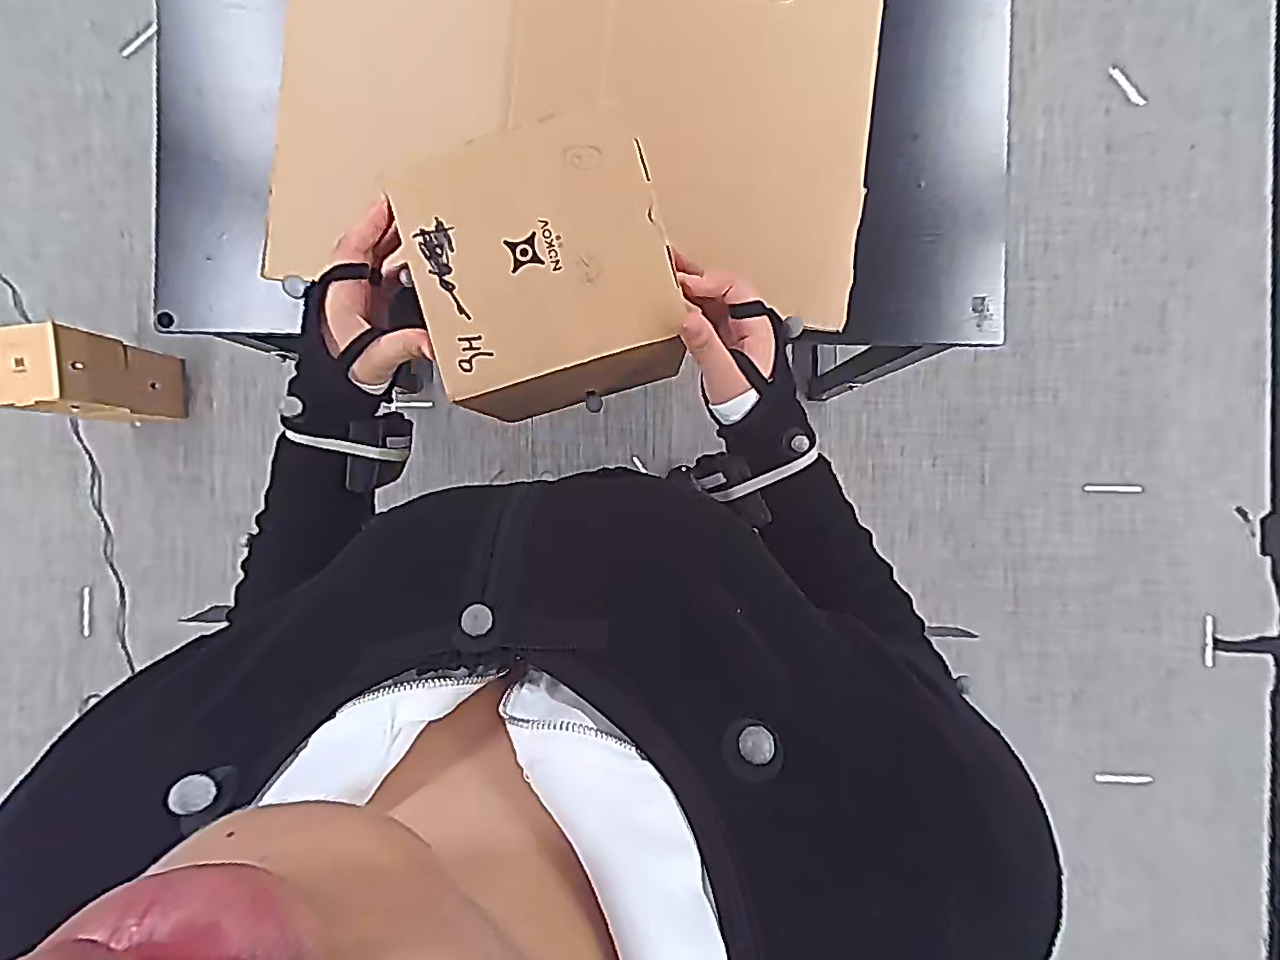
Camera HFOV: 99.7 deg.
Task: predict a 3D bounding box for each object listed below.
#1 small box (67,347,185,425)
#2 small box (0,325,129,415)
[{"bbox_3d":[-1.357,-0.244,1.434,0.168,0.176,0.179,-3,91,1],"label":"small box"},{"bbox_3d":[-1.360,-0.250,1.271,0.168,0.176,0.179,-6,89,0],"label":"small box"}]
